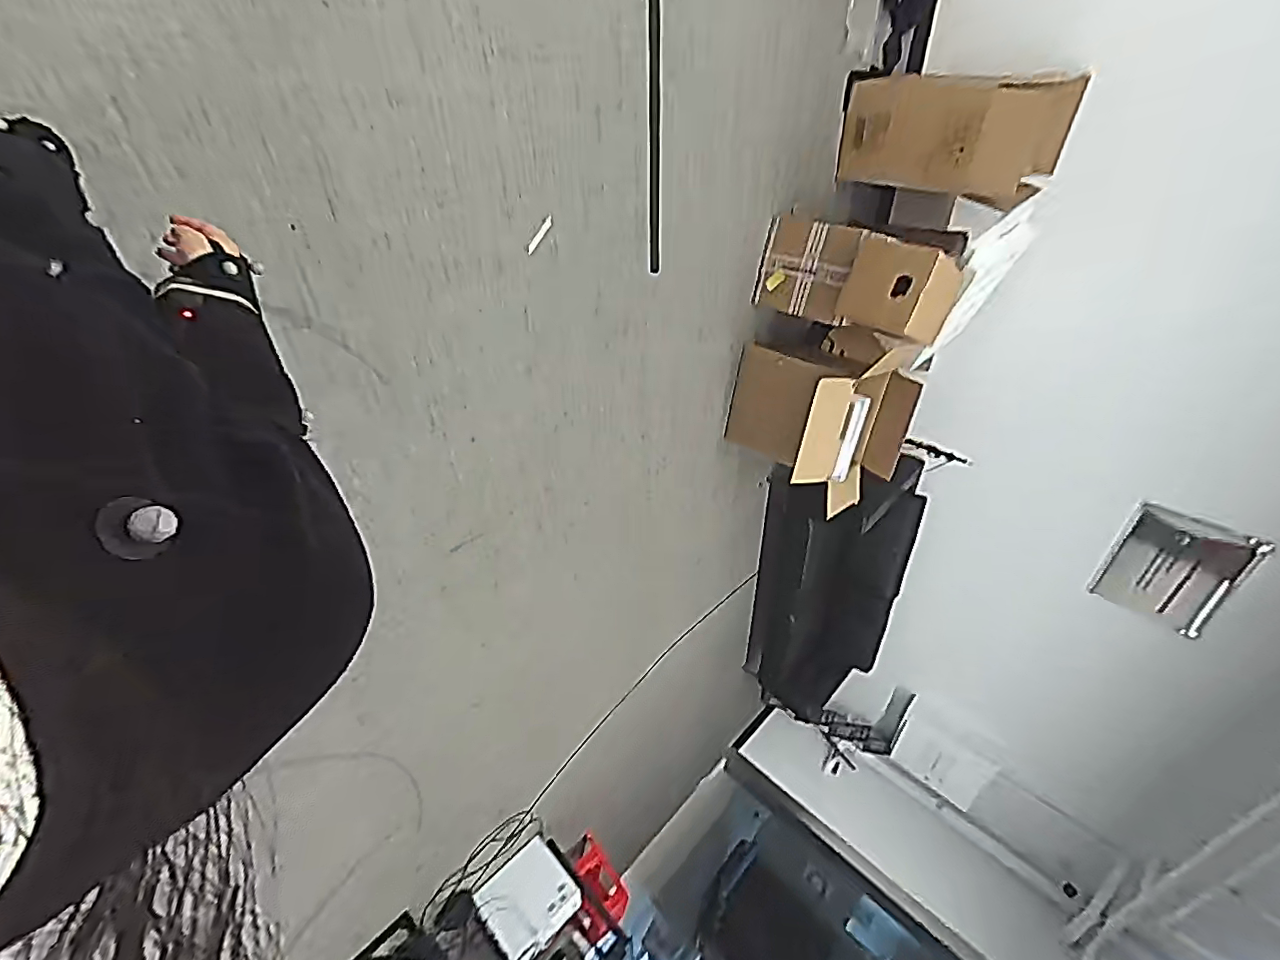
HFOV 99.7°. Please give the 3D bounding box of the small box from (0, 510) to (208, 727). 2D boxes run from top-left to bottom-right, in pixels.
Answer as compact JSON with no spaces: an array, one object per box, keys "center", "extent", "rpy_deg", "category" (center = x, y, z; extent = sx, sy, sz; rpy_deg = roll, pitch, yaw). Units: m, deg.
[{"center":[-0.694,0.157,0.681],"extent":[0.168,0.176,0.179],"rpy_deg":[-28,133,-37],"category":"small box"}]
